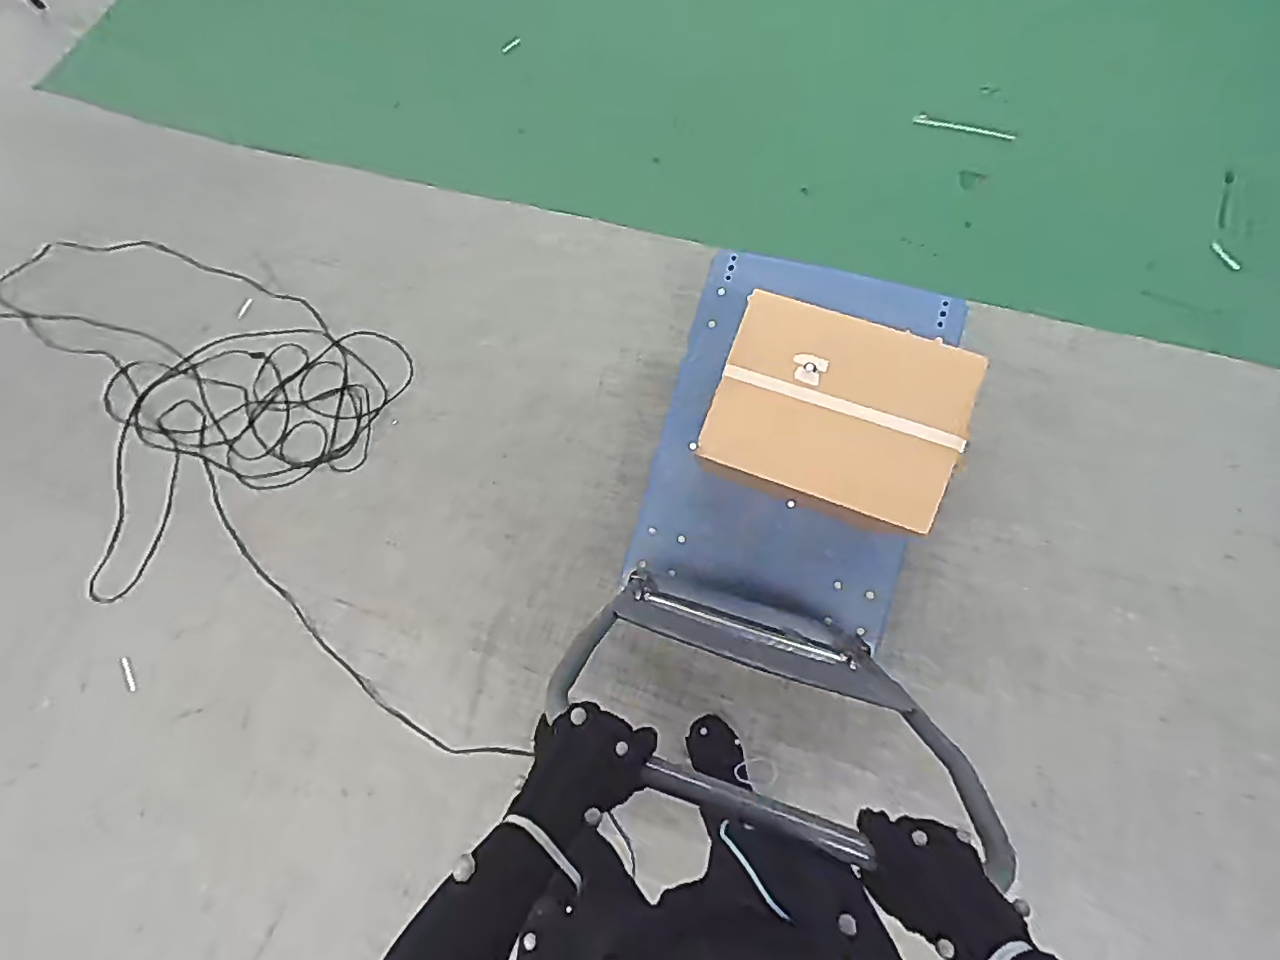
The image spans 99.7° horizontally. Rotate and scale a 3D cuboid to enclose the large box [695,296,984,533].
[{"bbox_3d":[0.354,-0.108,1.059,0.408,0.320,0.320,20,89,10],"label":"large box"}]
